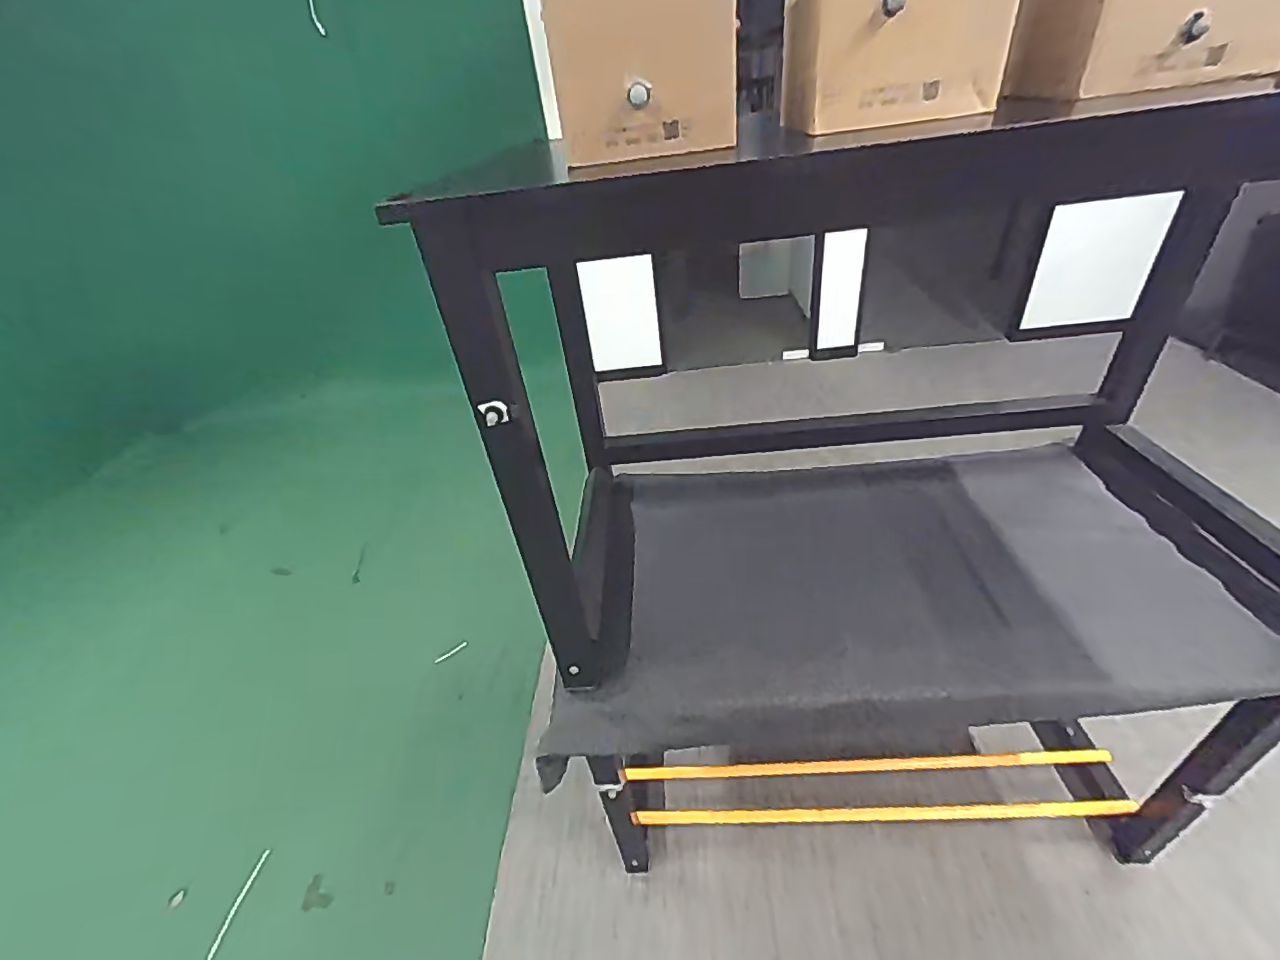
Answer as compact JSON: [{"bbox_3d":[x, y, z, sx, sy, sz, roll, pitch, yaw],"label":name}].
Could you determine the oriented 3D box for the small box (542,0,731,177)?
[{"bbox_3d":[0.001,-0.419,0.553,0.168,0.176,0.179,-5,36,4],"label":"small box"}]
